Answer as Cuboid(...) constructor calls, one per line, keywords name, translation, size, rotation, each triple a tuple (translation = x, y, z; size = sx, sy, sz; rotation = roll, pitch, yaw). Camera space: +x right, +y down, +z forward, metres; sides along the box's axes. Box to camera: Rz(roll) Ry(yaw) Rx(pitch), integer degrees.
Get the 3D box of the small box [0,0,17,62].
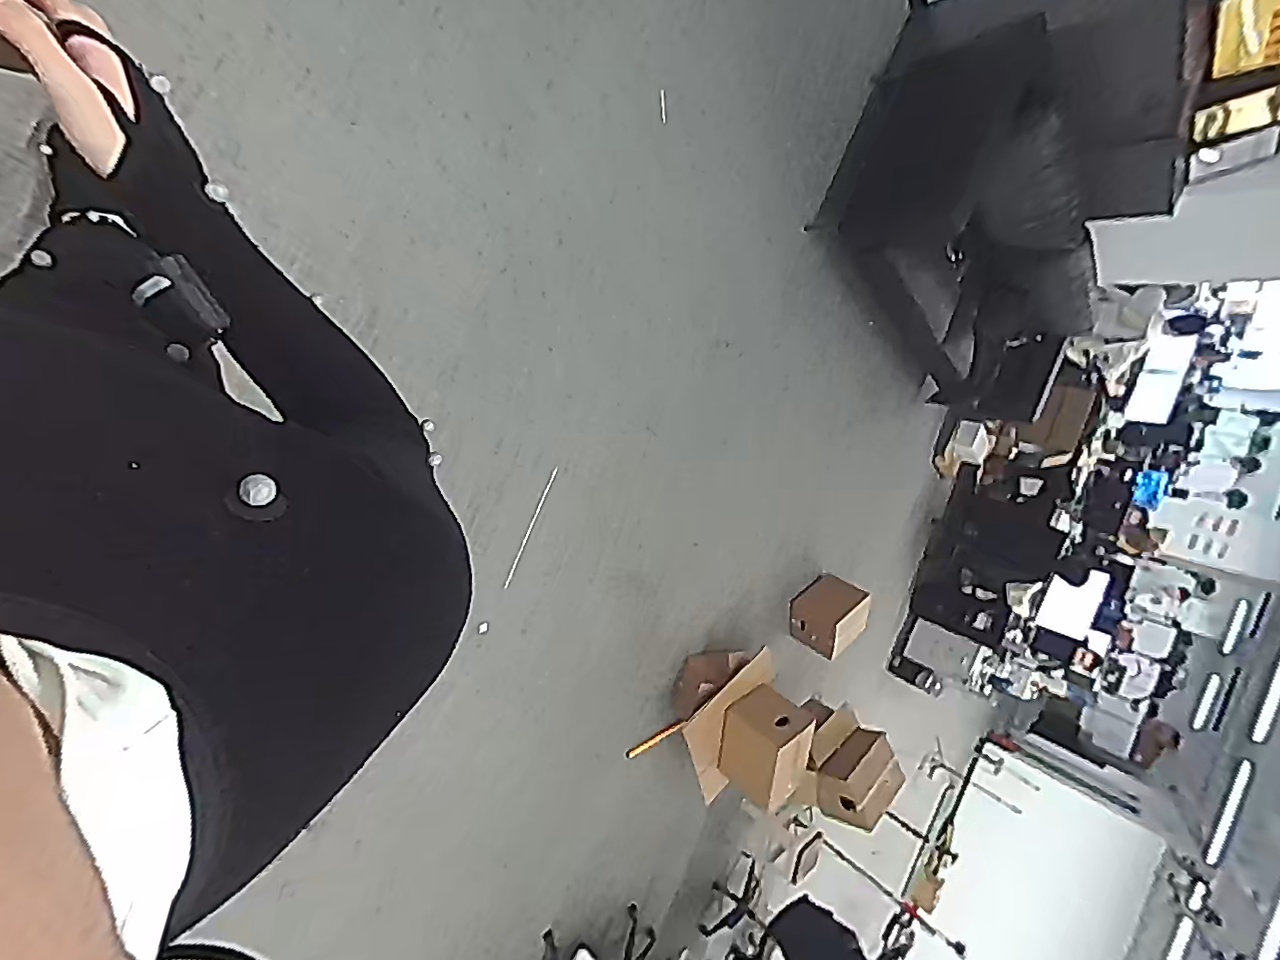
Cuboid(name="small box", translation=(-0.495, -0.378, 0.299), size=(0.168, 0.176, 0.179), rotation=(-13, 114, -41))
